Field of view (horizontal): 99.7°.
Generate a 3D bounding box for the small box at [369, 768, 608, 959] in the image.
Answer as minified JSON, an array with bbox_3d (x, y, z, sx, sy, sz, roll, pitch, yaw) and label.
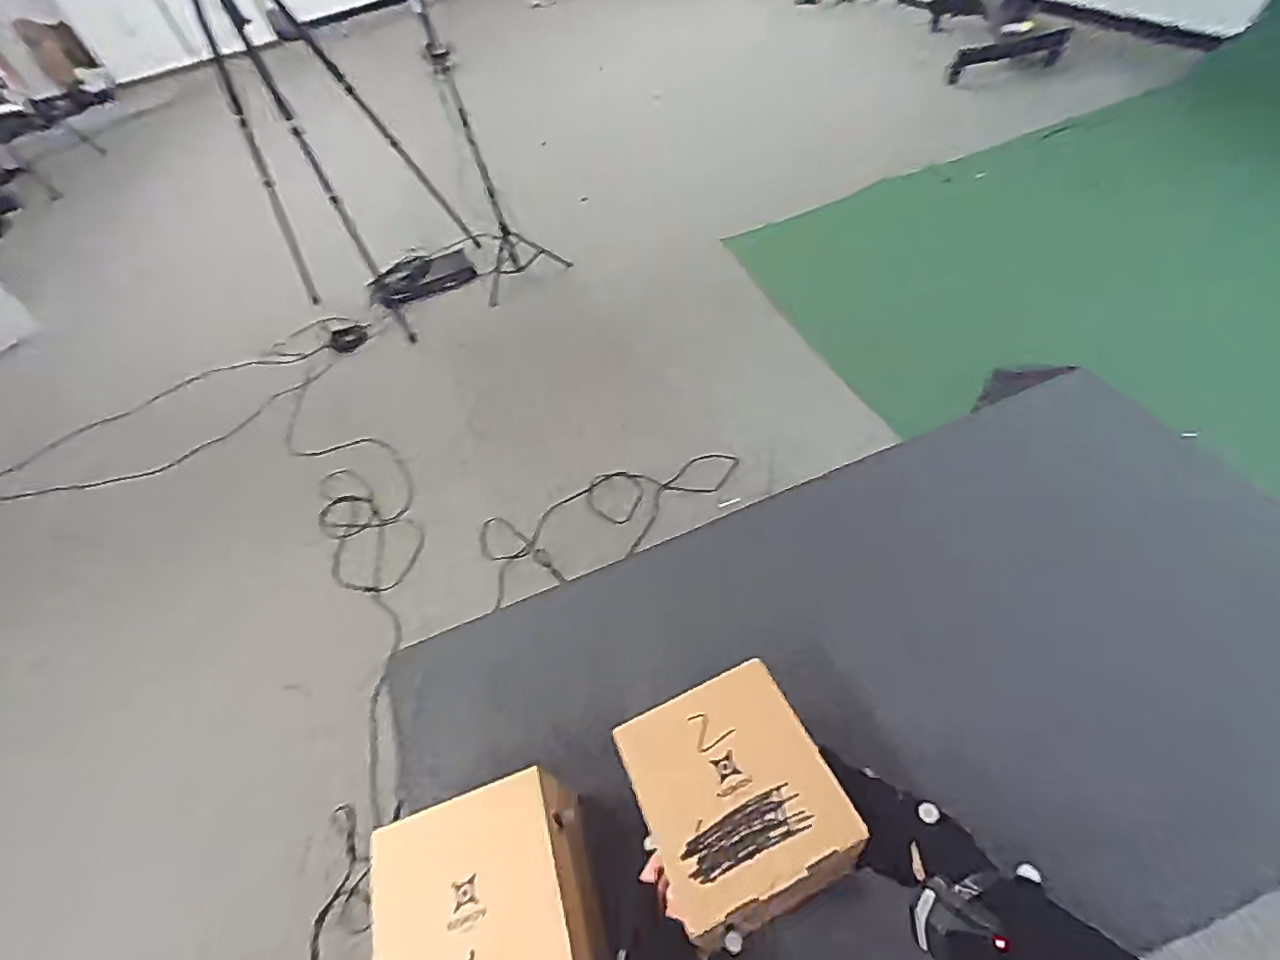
[{"bbox_3d":[-0.141,0.417,0.527,0.168,0.176,0.179,-19,51,-5],"label":"small box"}]
